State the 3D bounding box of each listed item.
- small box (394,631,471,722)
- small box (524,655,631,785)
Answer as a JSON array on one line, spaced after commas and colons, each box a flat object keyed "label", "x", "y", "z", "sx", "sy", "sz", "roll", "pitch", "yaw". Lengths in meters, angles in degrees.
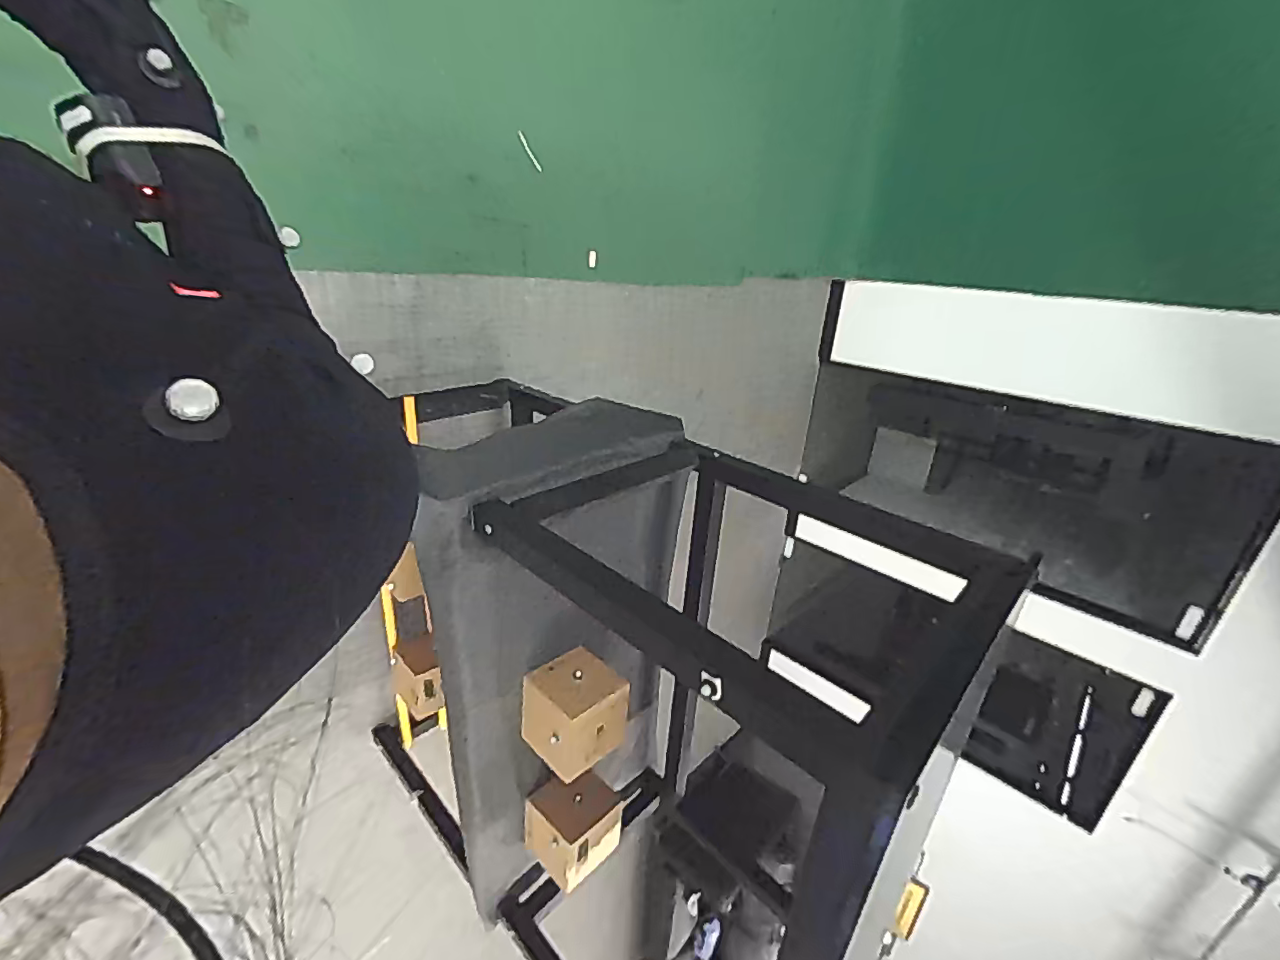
[{"label": "small box", "x": -0.640, "y": 0.595, "z": 1.660, "sx": 0.179, "sy": 0.176, "sz": 0.168, "roll": -15, "pitch": 120, "yaw": -44}, {"label": "small box", "x": -0.142, "y": 0.514, "z": 1.193, "sx": 0.168, "sy": 0.176, "sz": 0.179, "roll": -16, "pitch": 120, "yaw": -44}]
